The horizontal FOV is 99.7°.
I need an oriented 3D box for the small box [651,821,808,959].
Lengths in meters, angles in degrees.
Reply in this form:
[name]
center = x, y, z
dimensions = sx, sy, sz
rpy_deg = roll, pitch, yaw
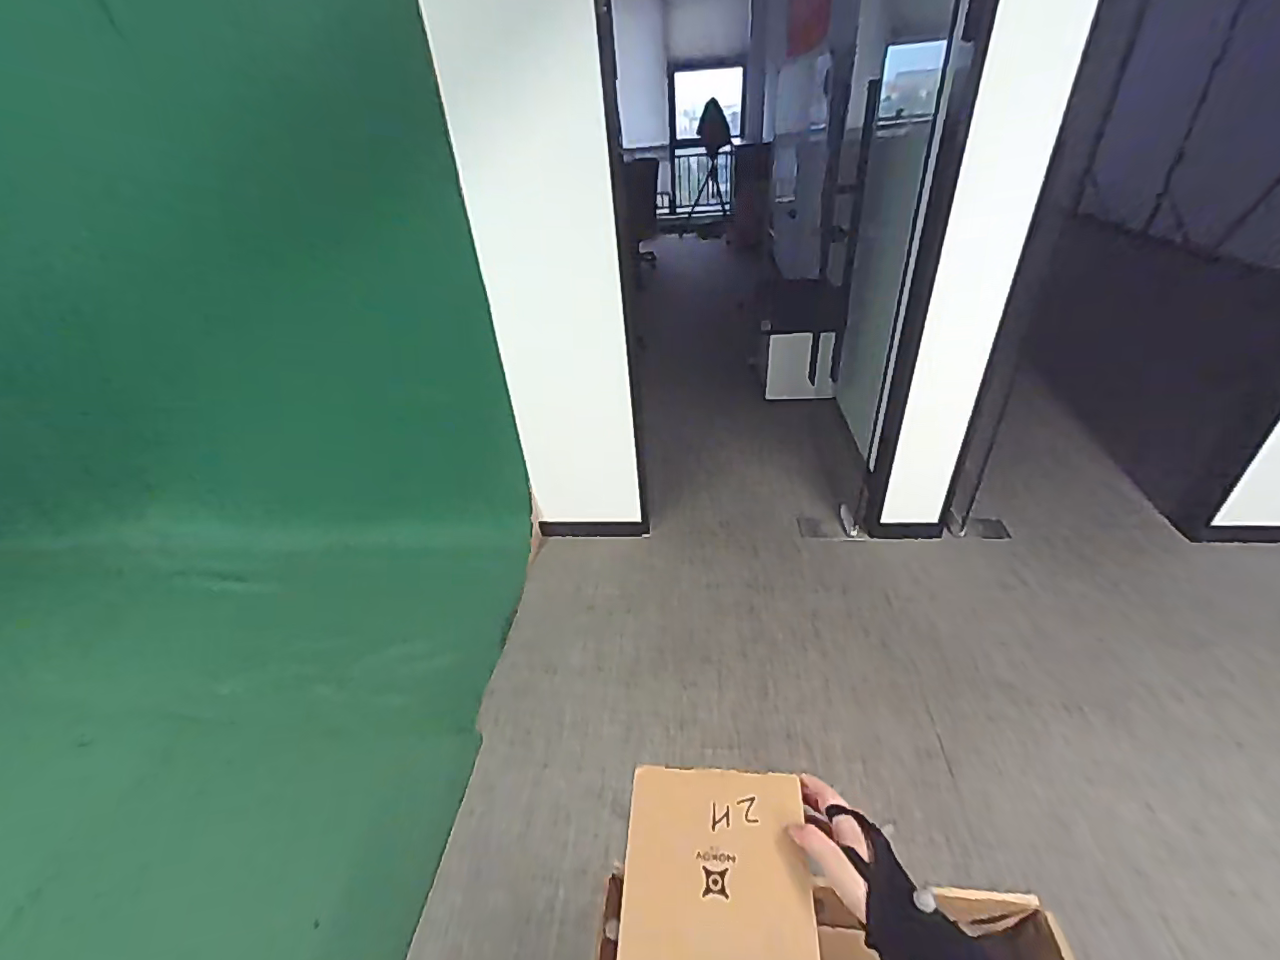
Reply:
[small box]
center = 0.105, 0.545, 0.641
dimensions = 0.168, 0.176, 0.179
rpy_deg = 2, 35, 9
